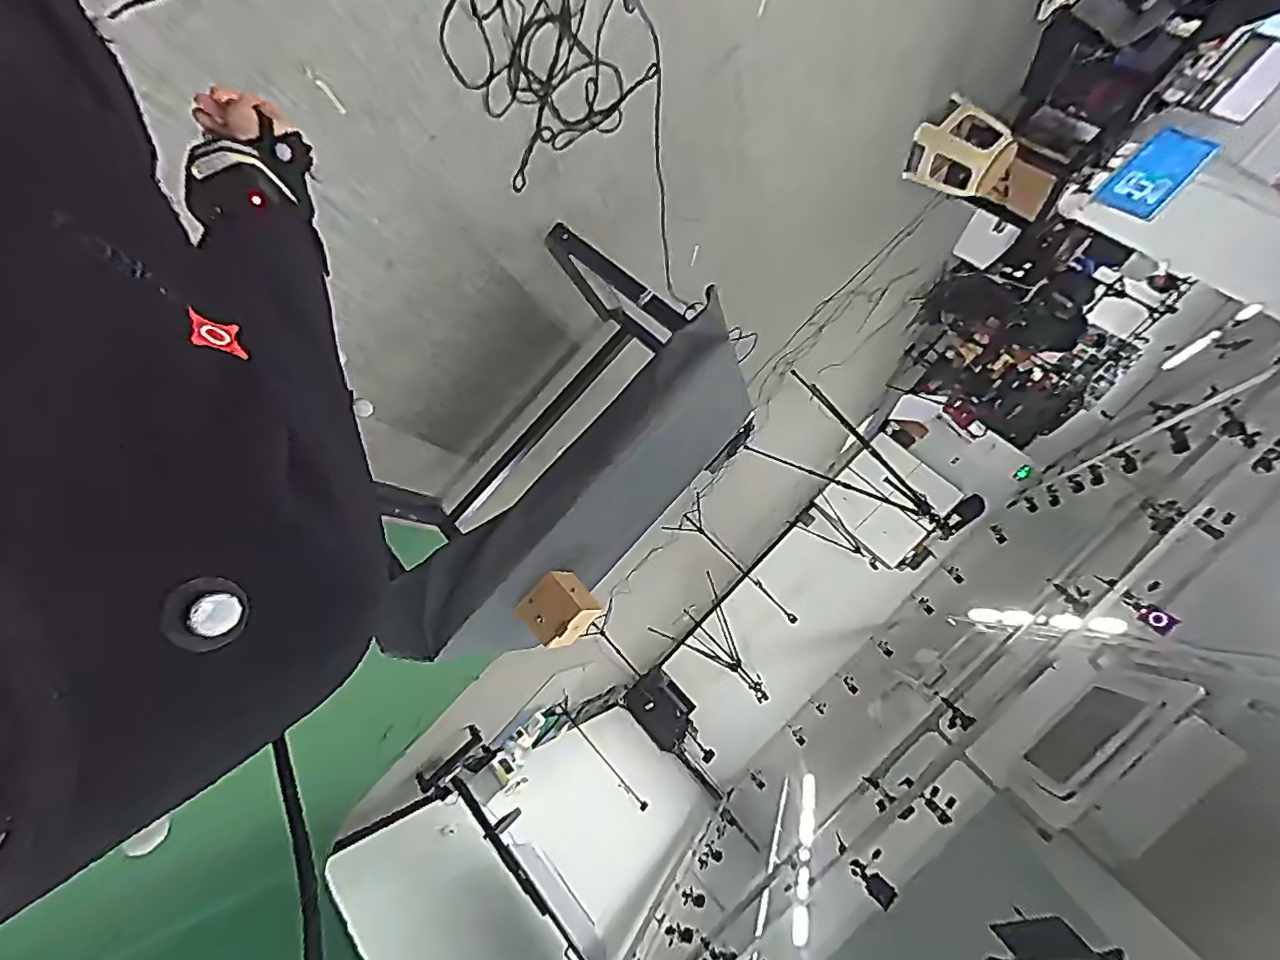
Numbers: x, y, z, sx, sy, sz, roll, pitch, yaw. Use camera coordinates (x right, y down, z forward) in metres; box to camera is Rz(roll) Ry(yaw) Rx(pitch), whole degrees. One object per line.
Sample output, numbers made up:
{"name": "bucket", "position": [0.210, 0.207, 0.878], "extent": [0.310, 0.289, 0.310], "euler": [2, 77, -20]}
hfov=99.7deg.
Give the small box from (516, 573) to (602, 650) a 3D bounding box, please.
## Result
{"name": "small box", "position": [-0.255, 0.405, 1.694], "extent": [0.168, 0.176, 0.179], "euler": [-47, 160, 5]}
